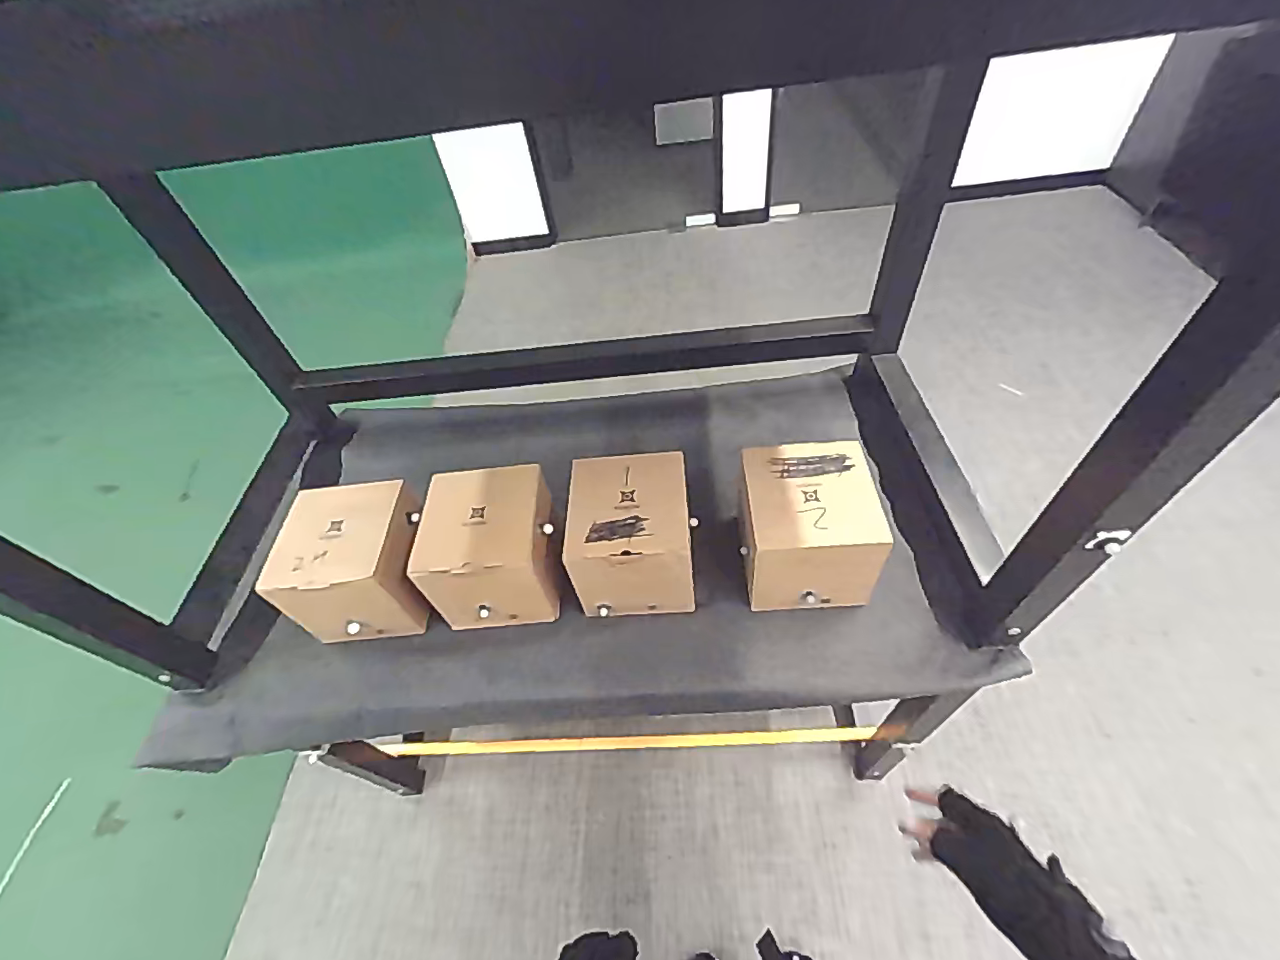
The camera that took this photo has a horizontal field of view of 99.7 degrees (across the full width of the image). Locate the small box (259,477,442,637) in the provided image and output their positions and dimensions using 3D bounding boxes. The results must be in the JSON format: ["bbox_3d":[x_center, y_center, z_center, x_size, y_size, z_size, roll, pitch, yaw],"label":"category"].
[{"bbox_3d":[-0.422,0.119,0.828,0.168,0.176,0.179,-6,50,3],"label":"small box"}]
